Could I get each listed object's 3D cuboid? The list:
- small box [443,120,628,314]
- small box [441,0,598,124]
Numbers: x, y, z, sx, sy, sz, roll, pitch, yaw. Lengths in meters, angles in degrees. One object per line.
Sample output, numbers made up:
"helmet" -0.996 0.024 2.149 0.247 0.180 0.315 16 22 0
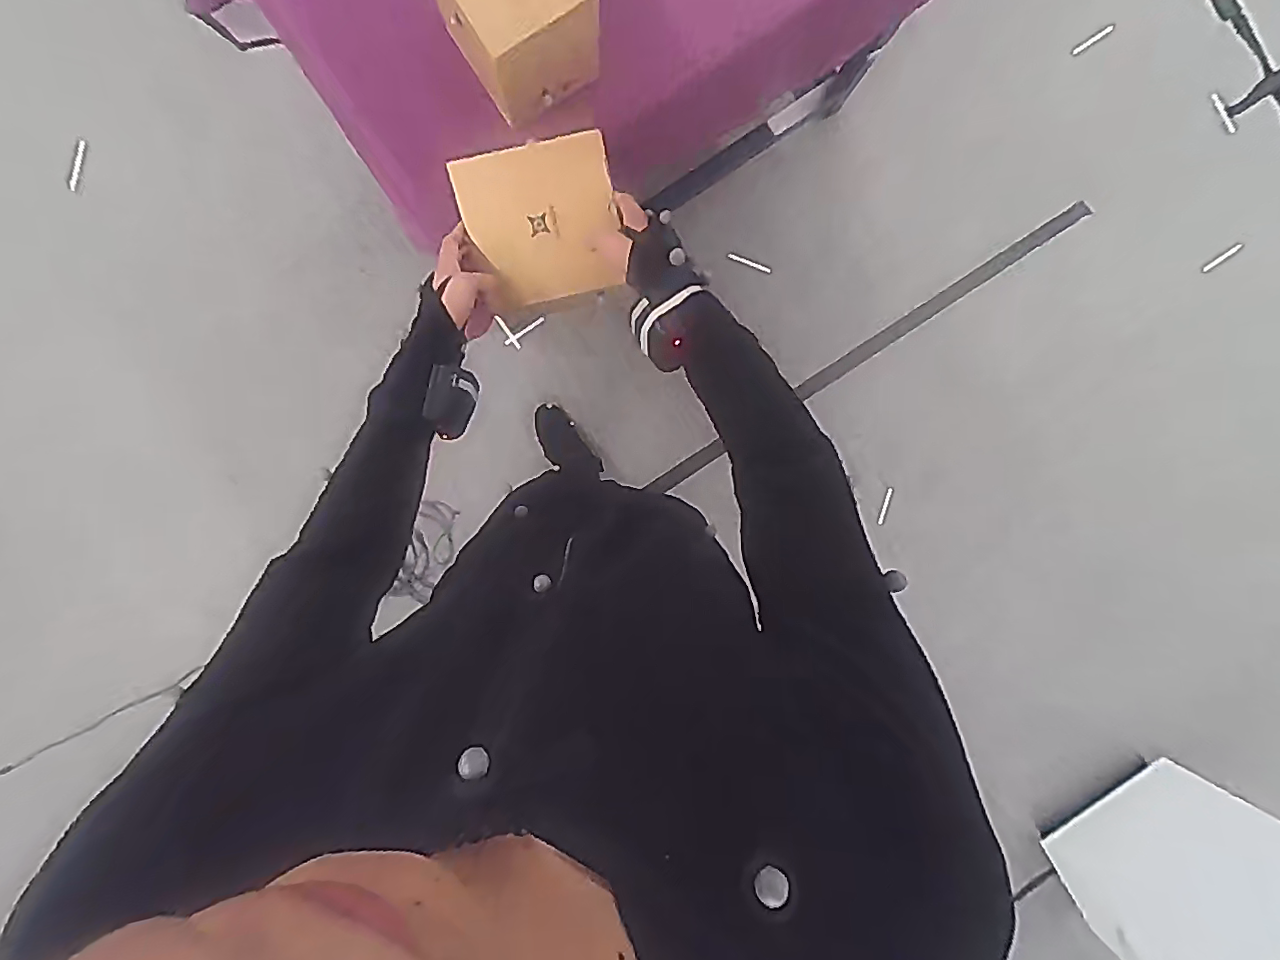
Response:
"small box" -0.118 -0.312 0.680 0.179 0.176 0.168 -14 105 -1
"small box" -0.172 -0.656 0.753 0.168 0.176 0.179 -33 96 0
